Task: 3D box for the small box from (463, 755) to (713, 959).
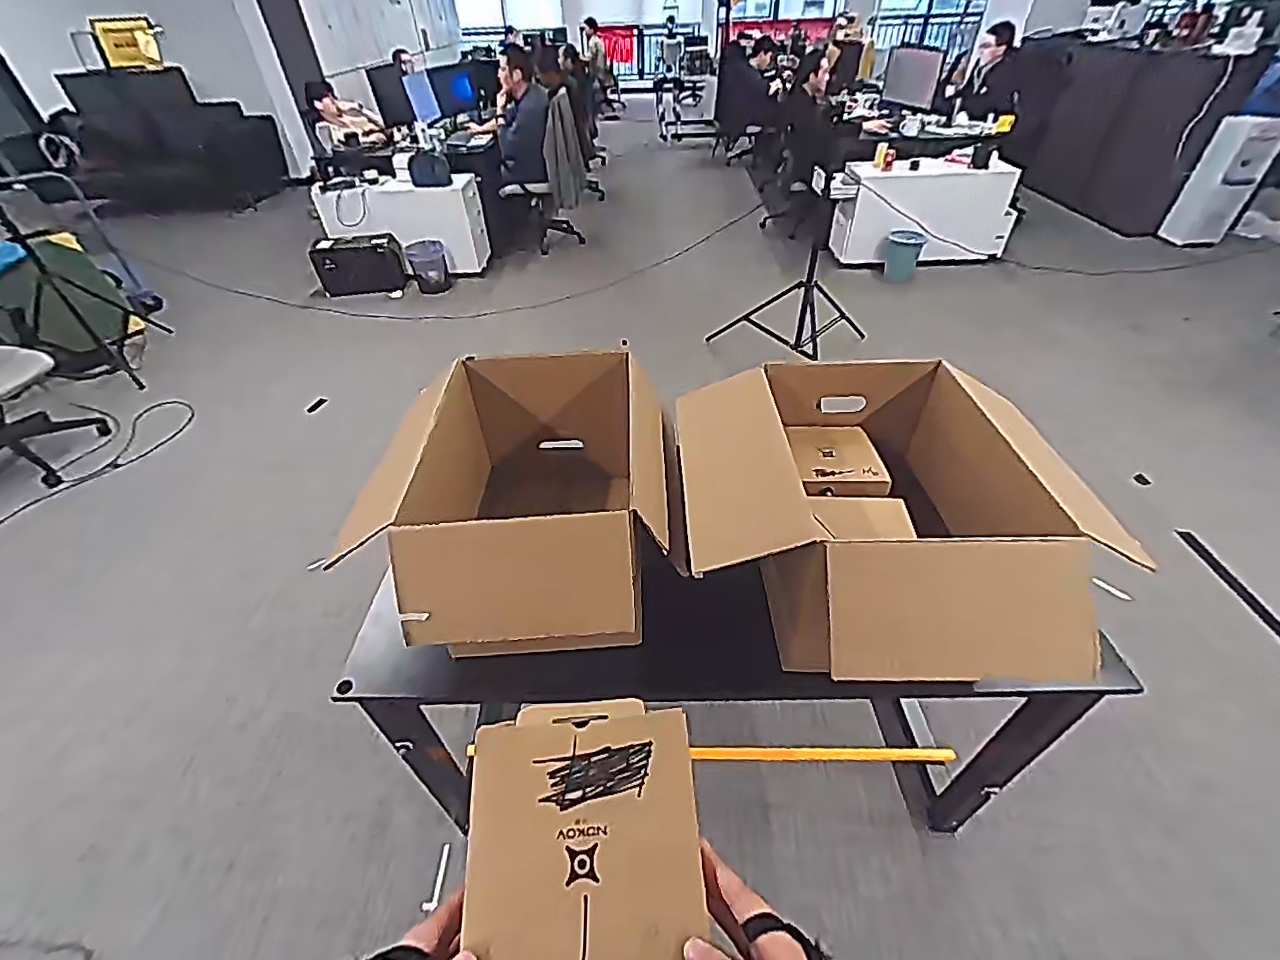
[{"bbox_3d":[-0.036,0.334,0.434,0.168,0.176,0.179,-4,57,-2],"label":"small box"}]
